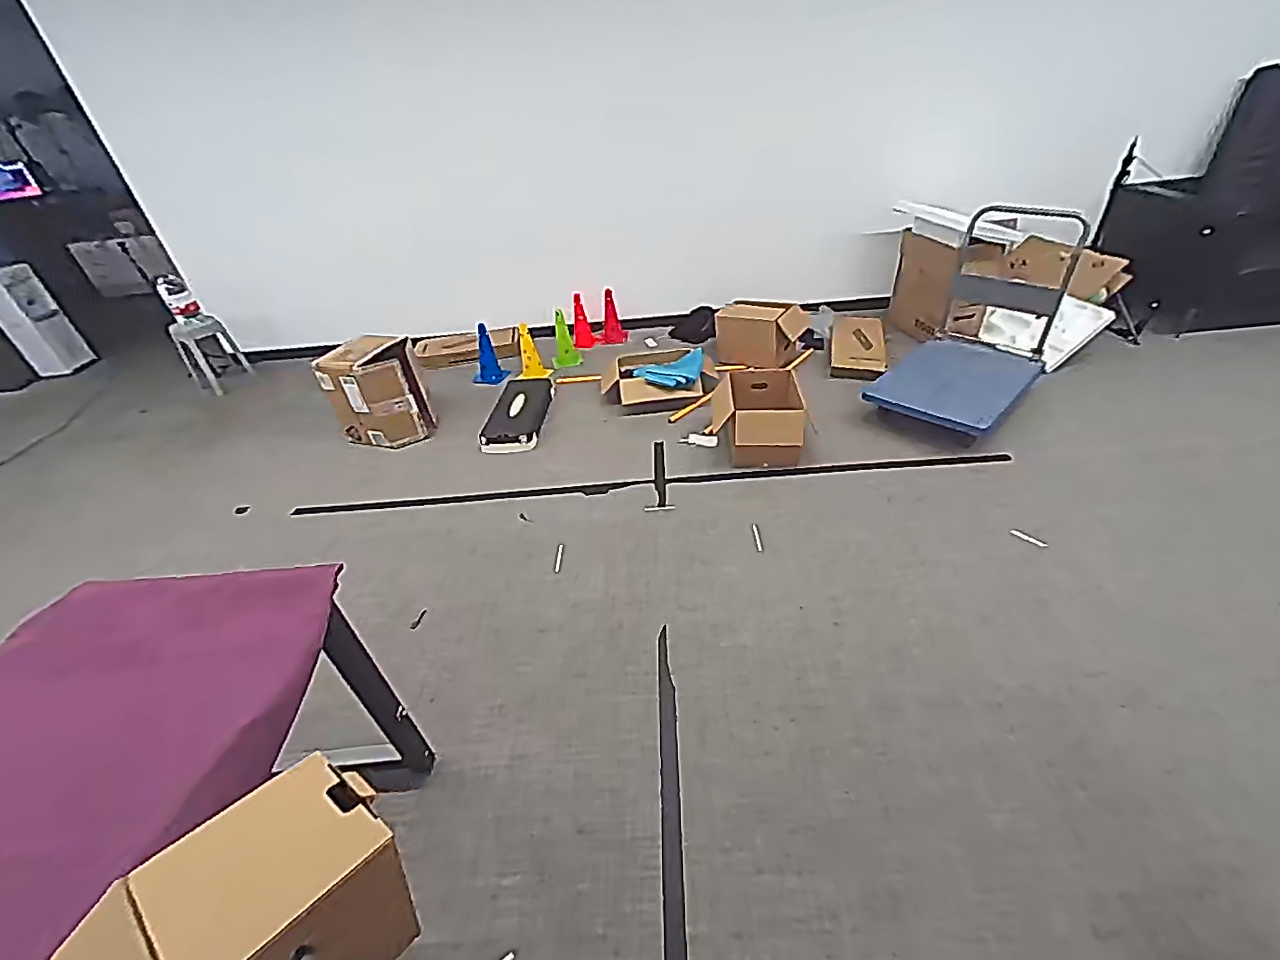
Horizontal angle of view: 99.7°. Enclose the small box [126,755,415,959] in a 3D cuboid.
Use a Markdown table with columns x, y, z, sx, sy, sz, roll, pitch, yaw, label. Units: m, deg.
| x | y | z | sx | sy | sz | roll | pitch | yaw | label |
| --- | --- | --- | --- | --- | --- | --- | --- | --- | --- |
| -0.355 | 0.434 | 0.543 | 0.168 | 0.176 | 0.179 | 16 | 28 | 34 | small box |
